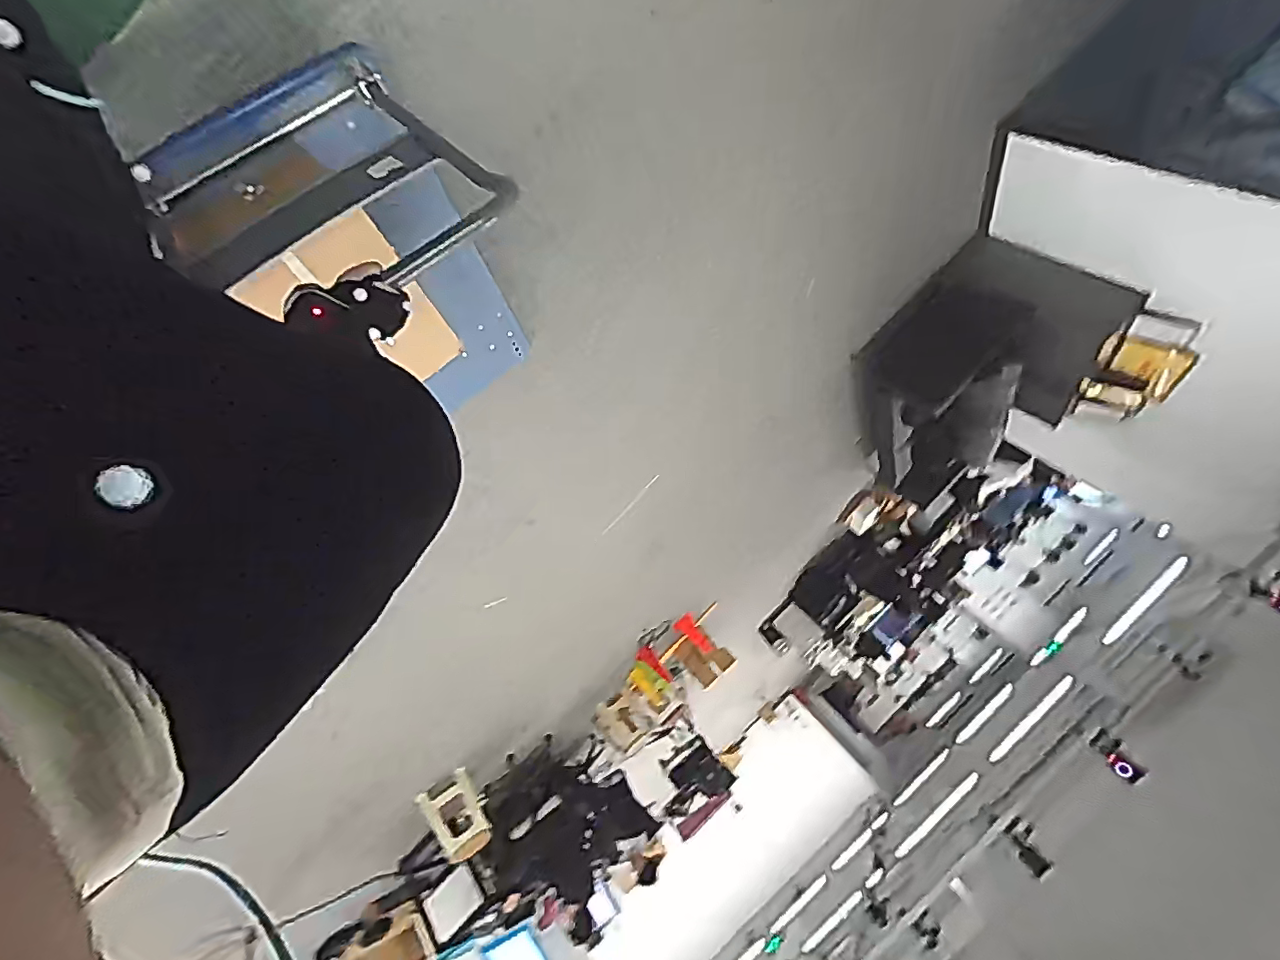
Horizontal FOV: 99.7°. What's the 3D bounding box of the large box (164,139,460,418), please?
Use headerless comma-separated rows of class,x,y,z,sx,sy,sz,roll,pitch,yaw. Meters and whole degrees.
large box,-0.678,-0.418,1.162,0.320,0.320,0.408,-40,149,-9
